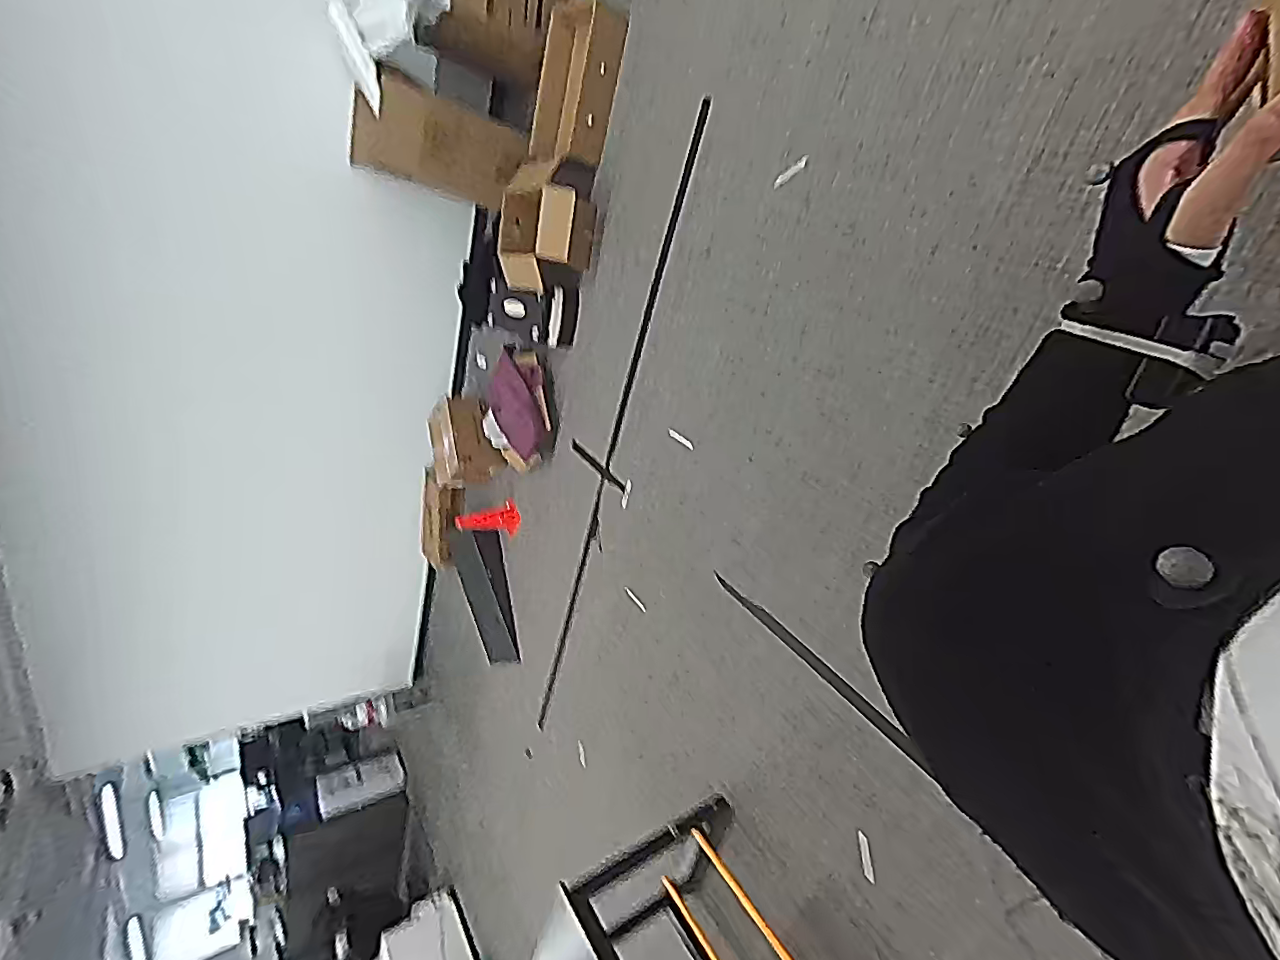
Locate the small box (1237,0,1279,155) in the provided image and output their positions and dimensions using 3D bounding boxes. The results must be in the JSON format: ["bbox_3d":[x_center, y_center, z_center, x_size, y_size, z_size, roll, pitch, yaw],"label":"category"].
[{"bbox_3d":[0.433,-0.304,0.278,0.168,0.176,0.179,-2,101,47],"label":"small box"}]
